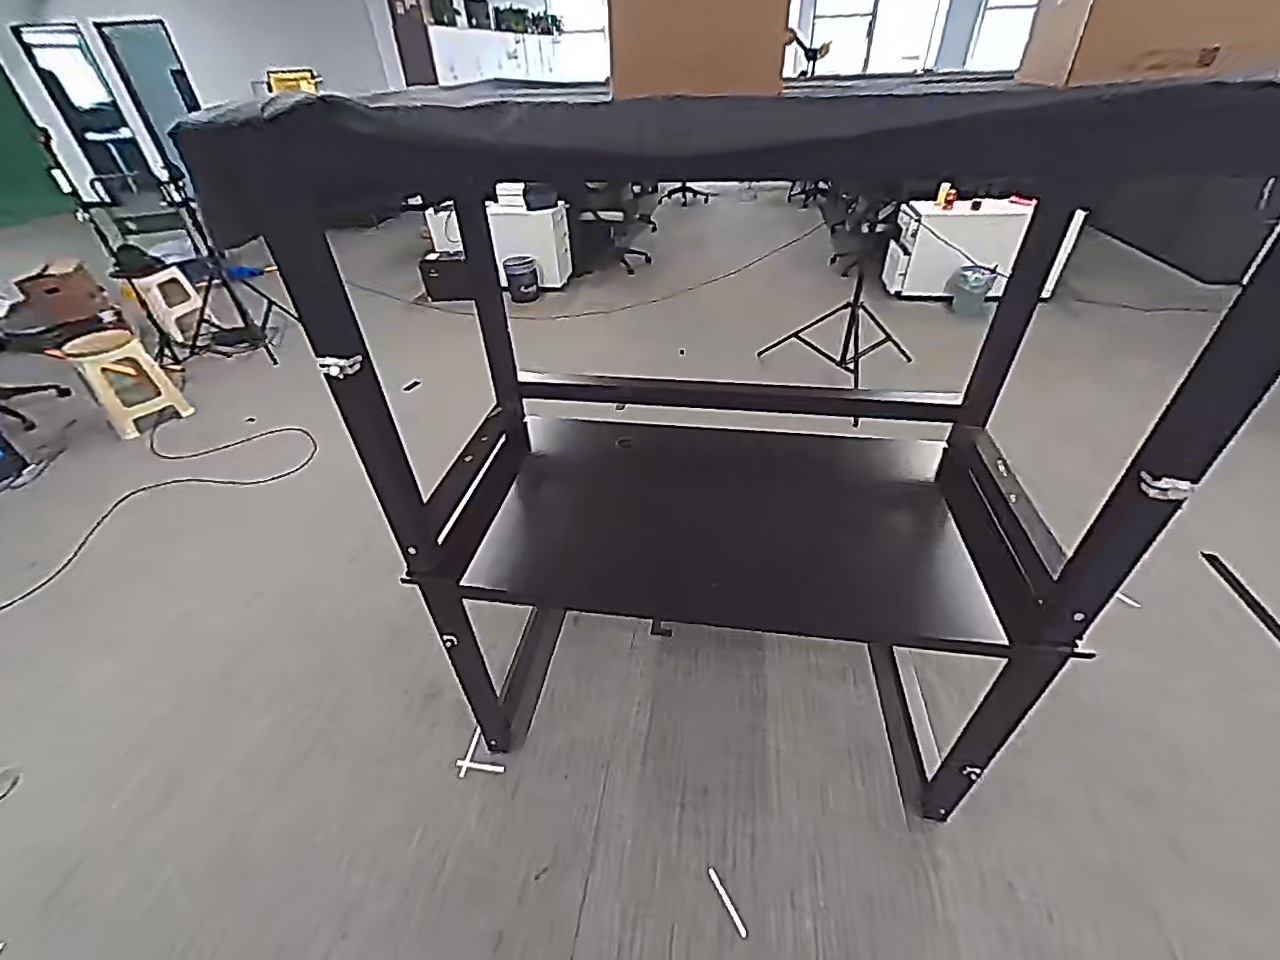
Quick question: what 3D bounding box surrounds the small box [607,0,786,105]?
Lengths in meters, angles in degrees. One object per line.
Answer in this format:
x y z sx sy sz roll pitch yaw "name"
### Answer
0.060 -0.501 0.572 0.179 0.176 0.168 3 37 6 "small box"
